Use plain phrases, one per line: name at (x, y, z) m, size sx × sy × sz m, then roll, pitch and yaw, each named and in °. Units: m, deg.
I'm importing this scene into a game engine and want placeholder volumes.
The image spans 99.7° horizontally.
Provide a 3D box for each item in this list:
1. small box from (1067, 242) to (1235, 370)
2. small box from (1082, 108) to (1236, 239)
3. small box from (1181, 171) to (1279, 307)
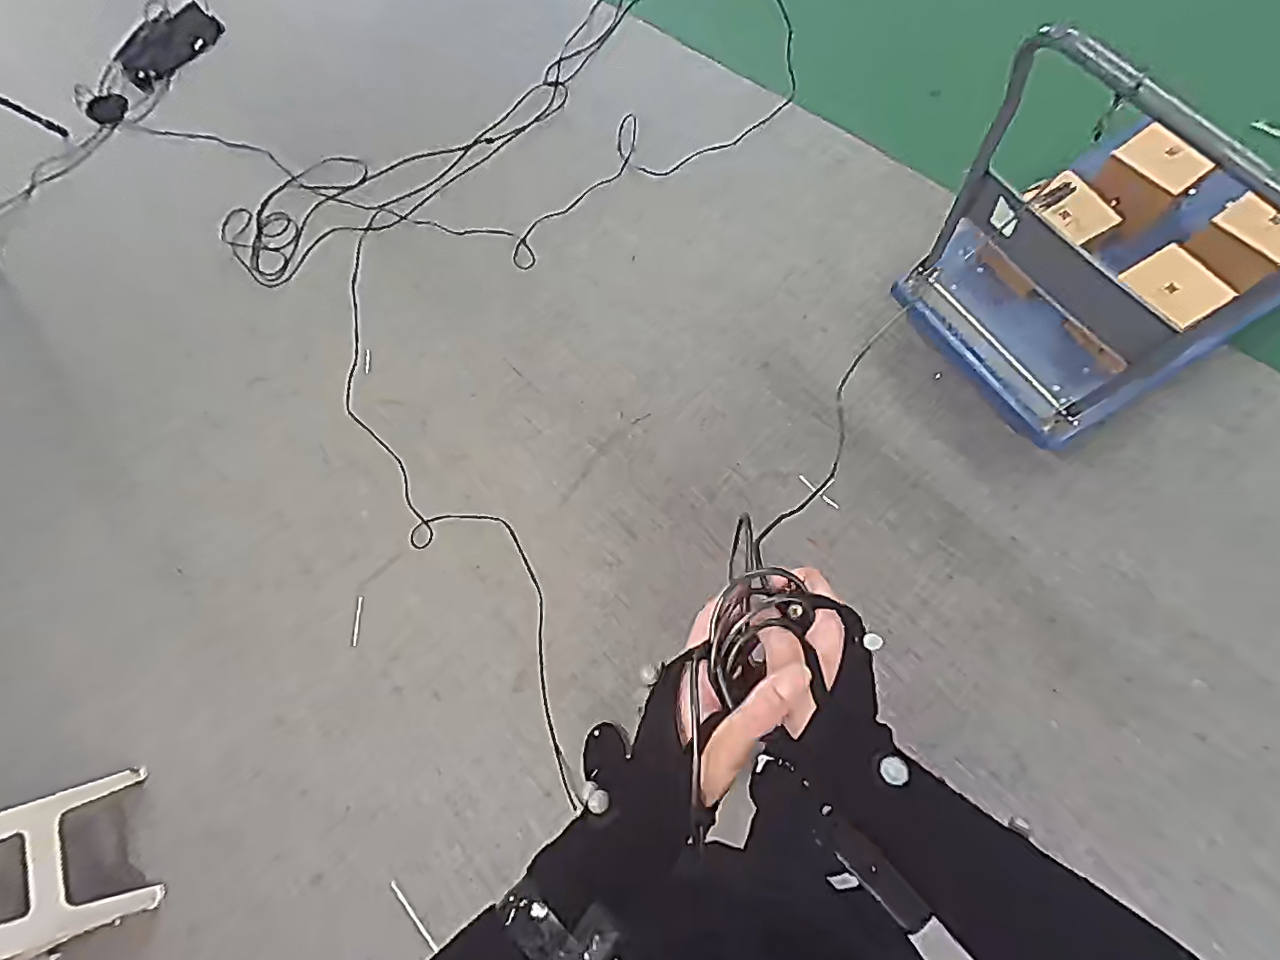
small box at (1.125, -0.381, 1.209) m, size 0.179 × 0.176 × 0.168 m, roll -32°, pitch 71°, yaw 2°
small box at (1.210, -0.718, 1.284) m, size 0.179 × 0.176 × 0.168 m, roll -36°, pitch 72°, yaw 0°
small box at (1.352, -0.528, 1.203) m, size 0.179 × 0.176 × 0.168 m, roll -37°, pitch 70°, yaw 1°
